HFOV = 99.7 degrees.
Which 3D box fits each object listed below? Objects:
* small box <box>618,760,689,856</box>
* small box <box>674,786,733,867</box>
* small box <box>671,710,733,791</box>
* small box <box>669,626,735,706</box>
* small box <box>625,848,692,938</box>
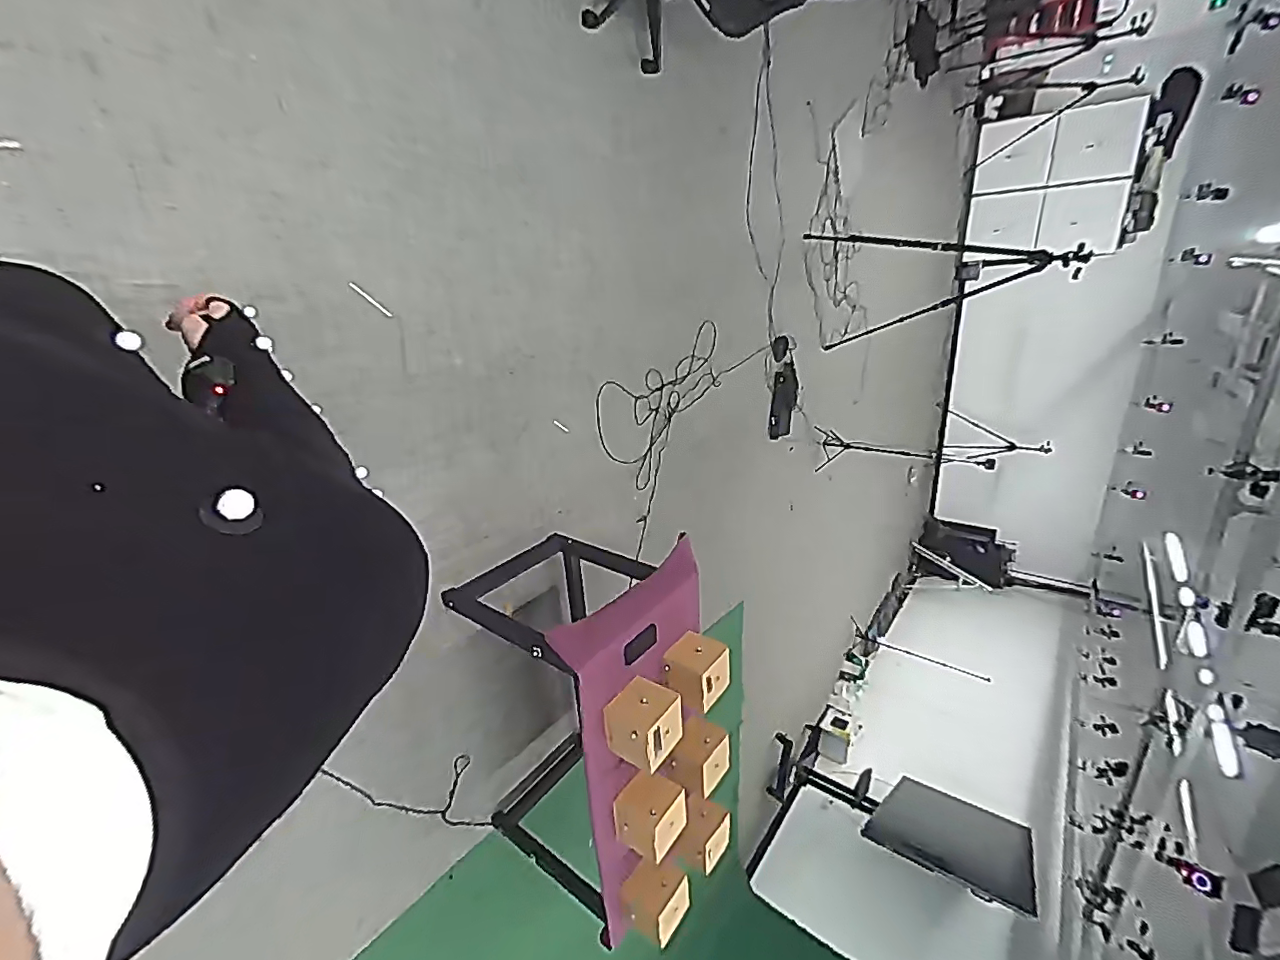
[{"bbox_3d":[0.047,1.077,1.794,0.179,0.176,0.168,-27,121,-46],"label":"small box"},{"bbox_3d":[0.252,1.361,2.140,0.179,0.176,0.168,-24,118,-46],"label":"small box"},{"bbox_3d":[0.231,0.994,2.007,0.179,0.176,0.168,-25,119,-45],"label":"small box"},{"bbox_3d":[0.210,0.636,1.868,0.179,0.176,0.168,-27,121,-45],"label":"small box"},{"bbox_3d":[0.068,1.447,1.923,0.179,0.176,0.168,-27,119,-45],"label":"small box"}]
